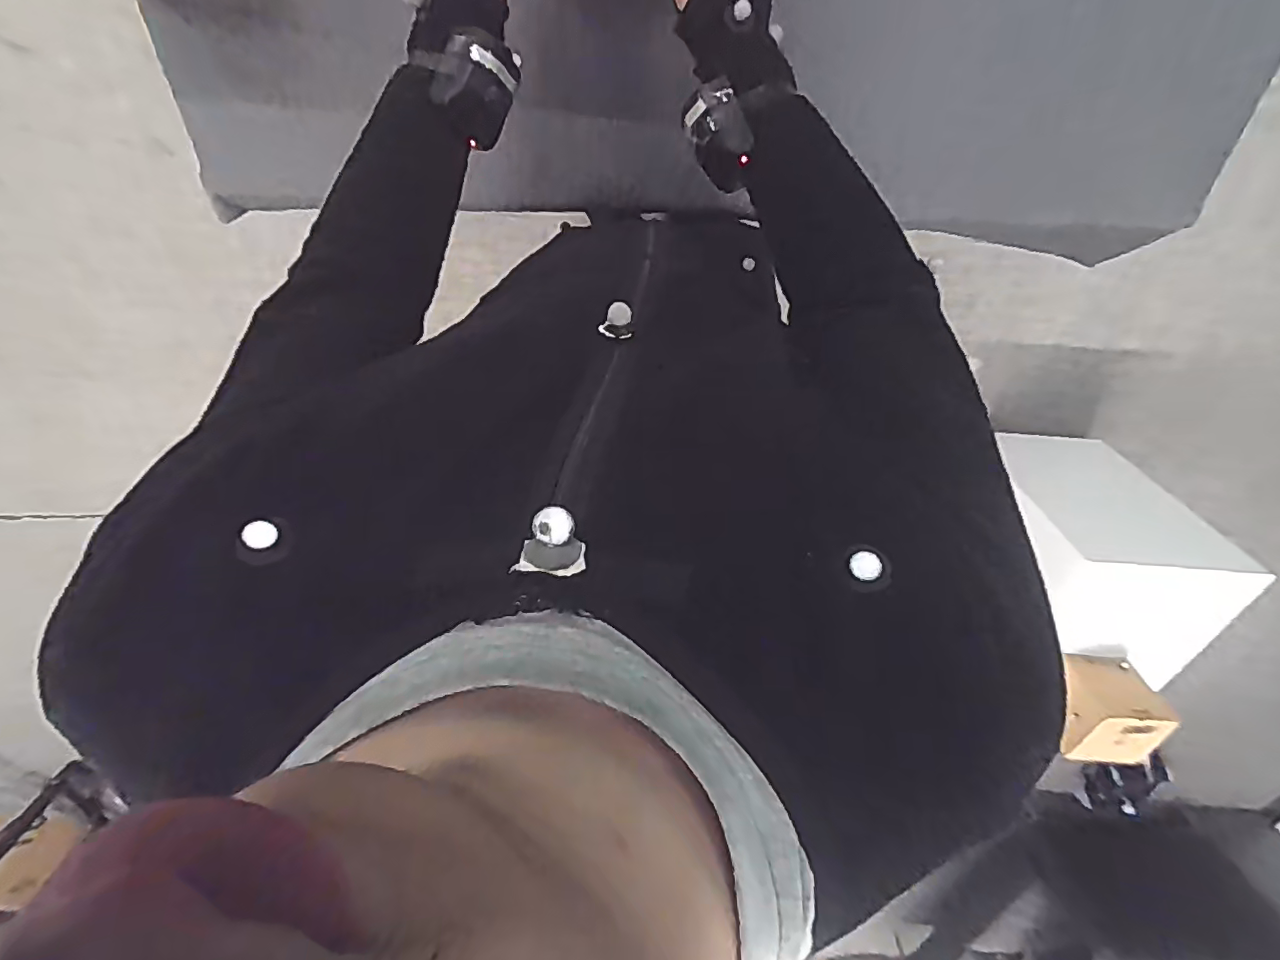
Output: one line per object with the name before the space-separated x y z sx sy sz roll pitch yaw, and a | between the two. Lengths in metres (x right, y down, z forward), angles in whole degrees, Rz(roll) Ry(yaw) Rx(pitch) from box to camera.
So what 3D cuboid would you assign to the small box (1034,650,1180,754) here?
small box | 1.098 0.527 1.294 0.168 0.176 0.179 3 124 -2
